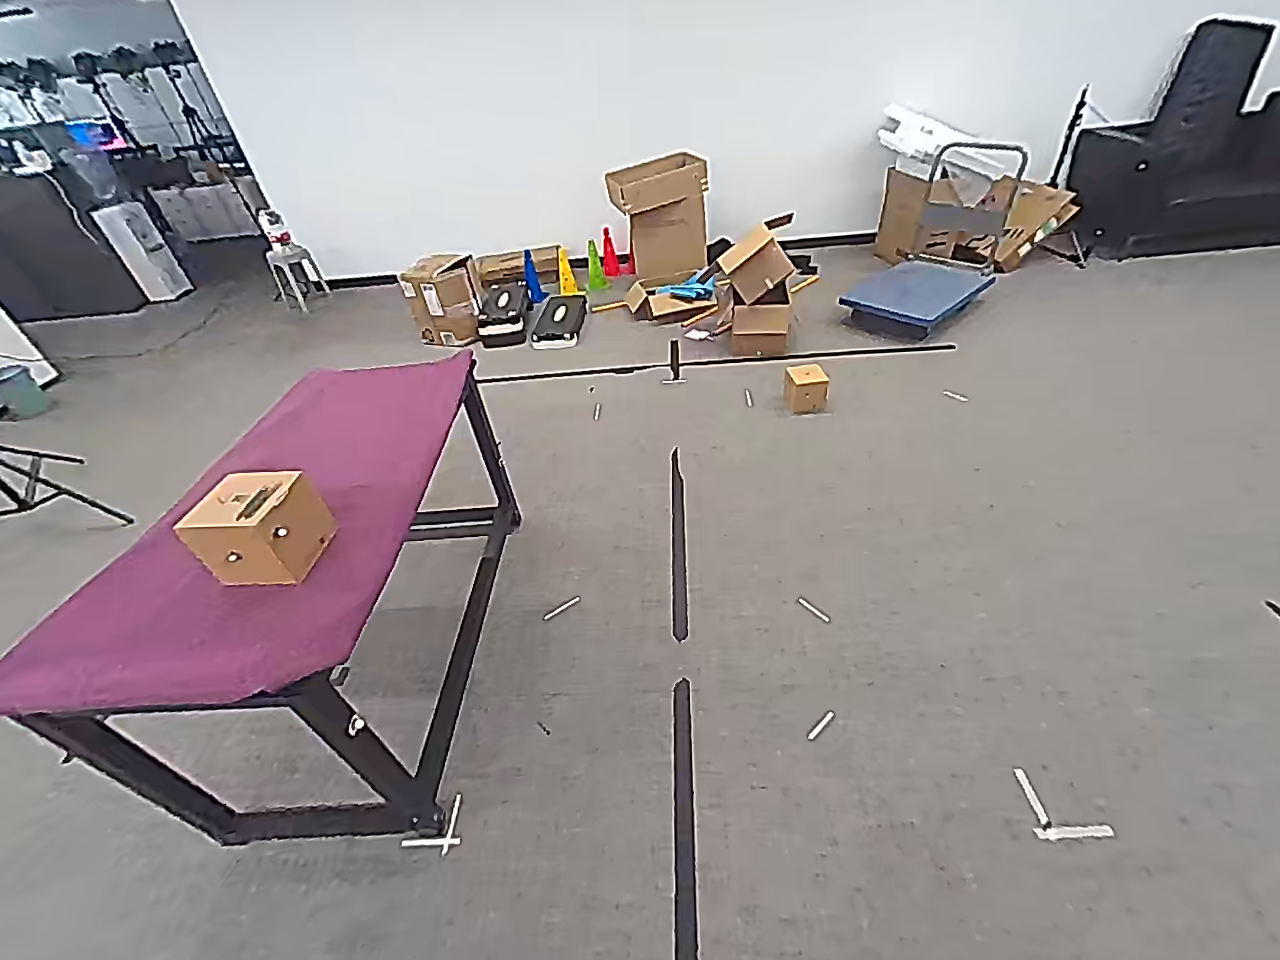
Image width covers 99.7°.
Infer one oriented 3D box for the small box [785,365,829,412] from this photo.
[{"bbox_3d":[0.837,-0.456,2.726,0.168,0.176,0.179,-8,39,-1],"label":"small box"}]
